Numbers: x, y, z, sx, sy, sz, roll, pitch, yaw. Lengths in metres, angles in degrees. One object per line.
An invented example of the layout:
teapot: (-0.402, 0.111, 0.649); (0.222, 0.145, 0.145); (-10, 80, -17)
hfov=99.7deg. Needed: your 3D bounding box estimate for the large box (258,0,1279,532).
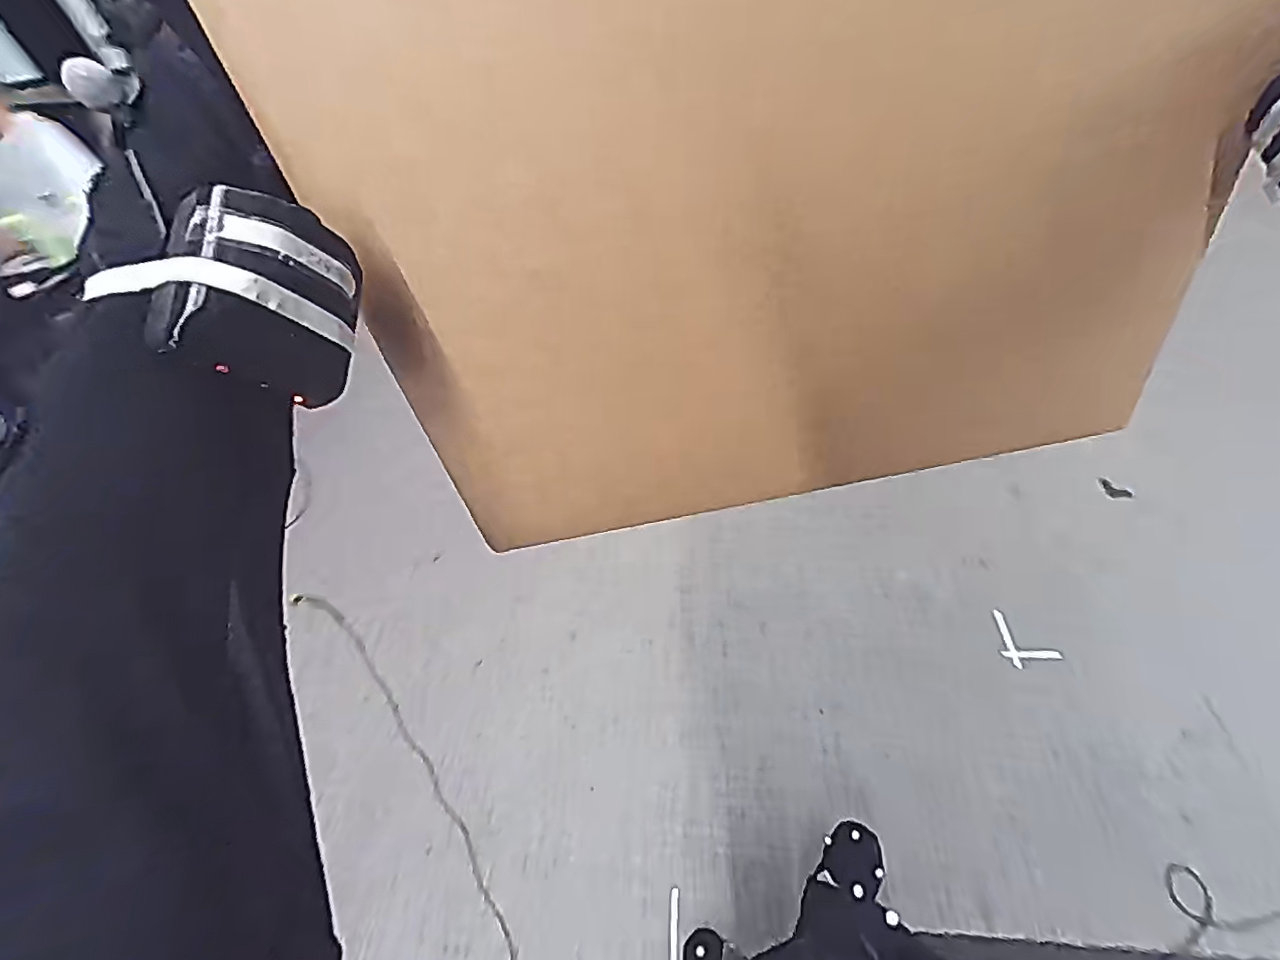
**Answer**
large box: (0.065, -0.204, 0.371); (0.408, 0.320, 0.320); (-11, 39, 3)
